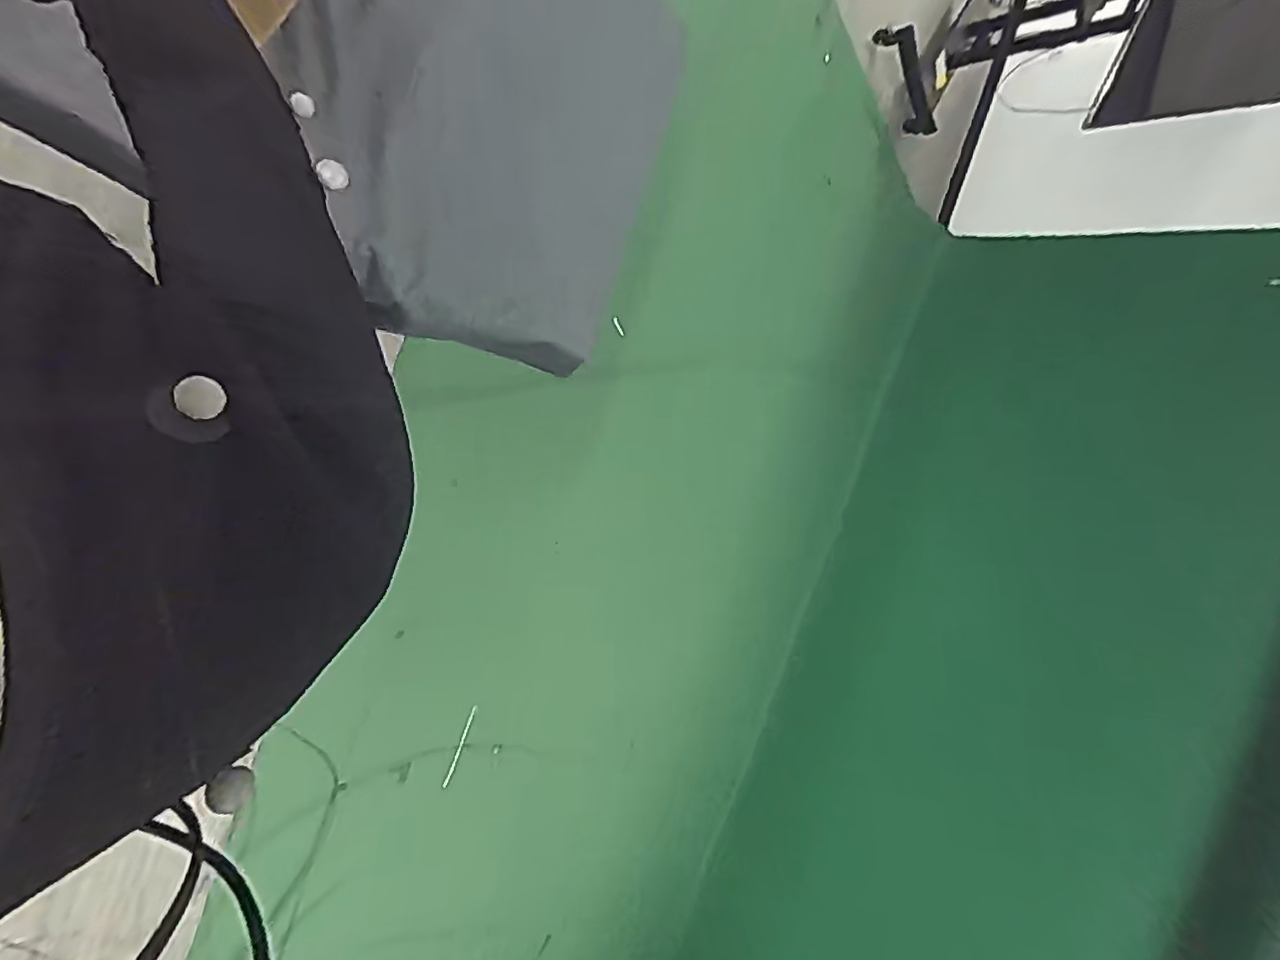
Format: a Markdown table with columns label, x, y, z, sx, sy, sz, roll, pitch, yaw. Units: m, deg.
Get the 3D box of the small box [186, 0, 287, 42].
| label | x | y | z | sx | sy | sz | roll | pitch | yaw |
| --- | --- | --- | --- | --- | --- | --- | --- | --- | --- |
| small box | -0.363 | -0.517 | 0.441 | 0.168 | 0.176 | 0.179 | 19 | 90 | -49 |
